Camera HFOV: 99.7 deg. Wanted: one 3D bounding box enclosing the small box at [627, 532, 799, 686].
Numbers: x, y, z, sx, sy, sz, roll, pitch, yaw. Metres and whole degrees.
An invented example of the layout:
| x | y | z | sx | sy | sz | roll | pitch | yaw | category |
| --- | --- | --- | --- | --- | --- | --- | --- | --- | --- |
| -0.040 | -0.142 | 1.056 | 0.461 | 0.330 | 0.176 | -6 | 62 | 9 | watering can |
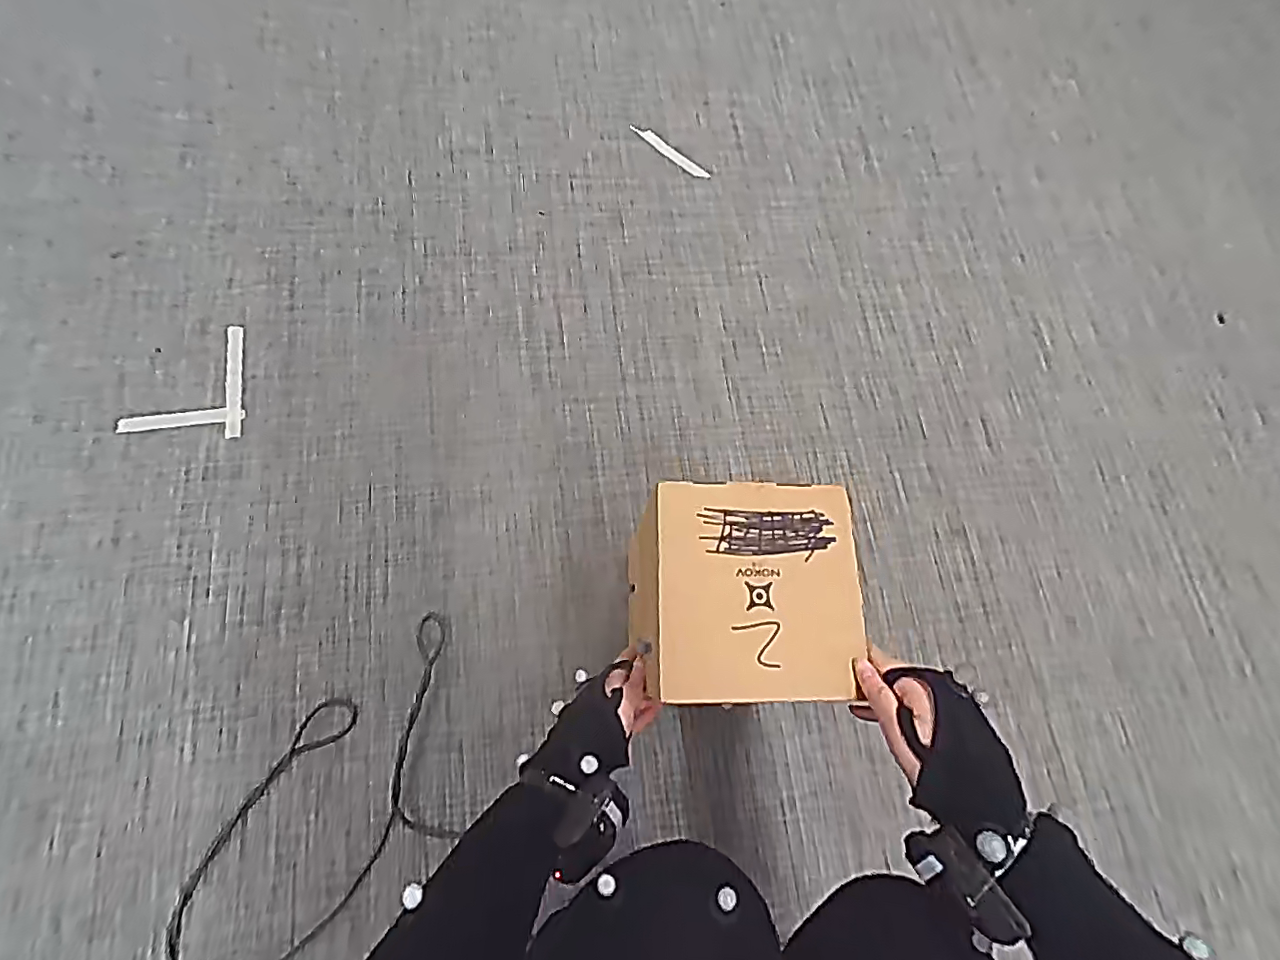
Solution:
| x | y | z | sx | sy | sz | roll | pitch | yaw | category |
| --- | --- | --- | --- | --- | --- | --- | --- | --- | --- |
| 0.074 | 0.161 | 0.666 | 0.179 | 0.176 | 0.168 | 0 | 73 | -6 | small box |
